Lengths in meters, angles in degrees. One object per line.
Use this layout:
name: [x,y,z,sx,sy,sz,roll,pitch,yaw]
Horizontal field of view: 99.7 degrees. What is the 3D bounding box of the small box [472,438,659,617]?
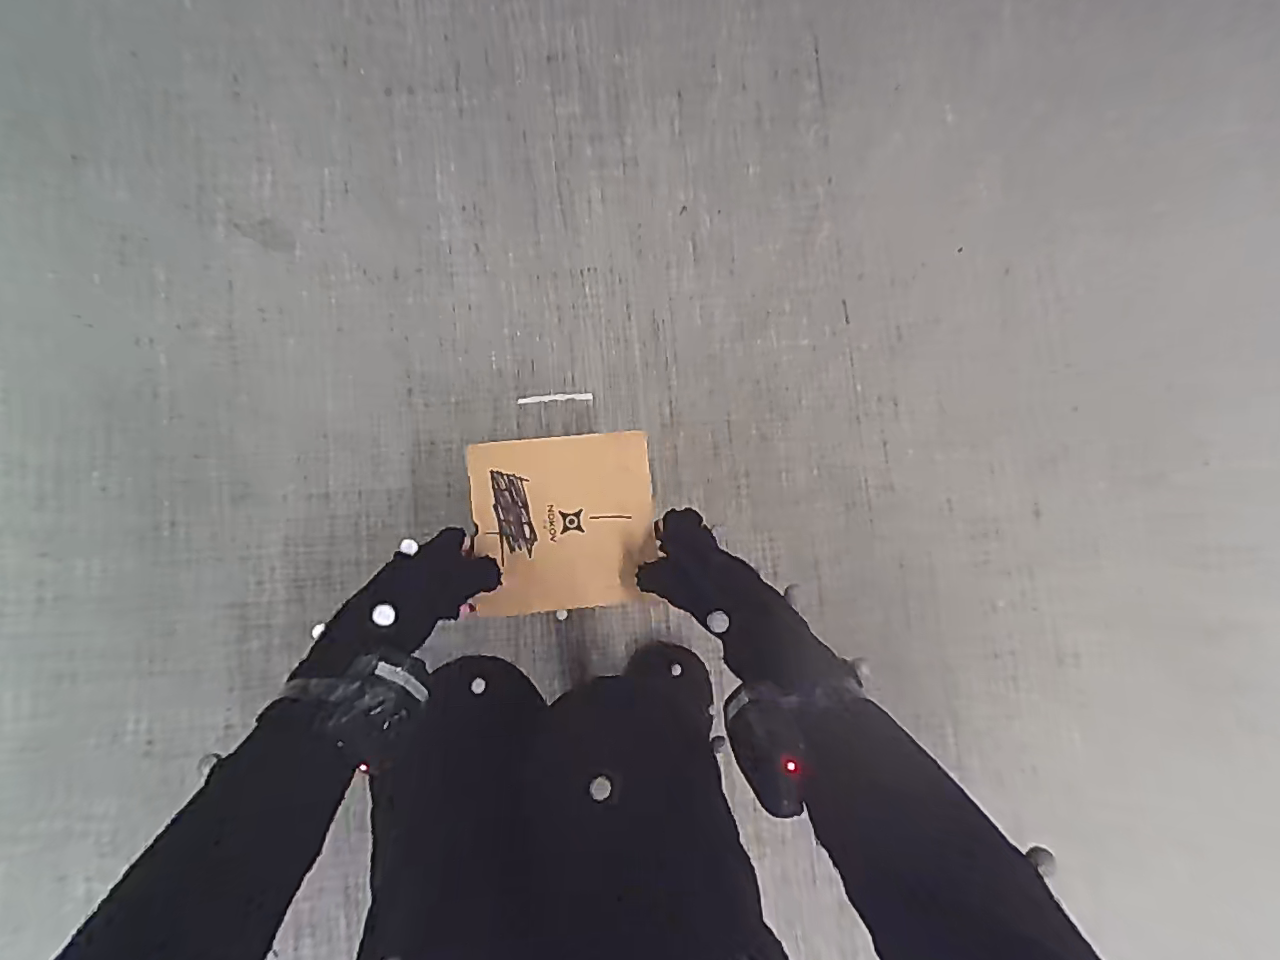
small box: [-0.076,0.056,0.605,0.179,0.176,0.168,-5,83,-3]
